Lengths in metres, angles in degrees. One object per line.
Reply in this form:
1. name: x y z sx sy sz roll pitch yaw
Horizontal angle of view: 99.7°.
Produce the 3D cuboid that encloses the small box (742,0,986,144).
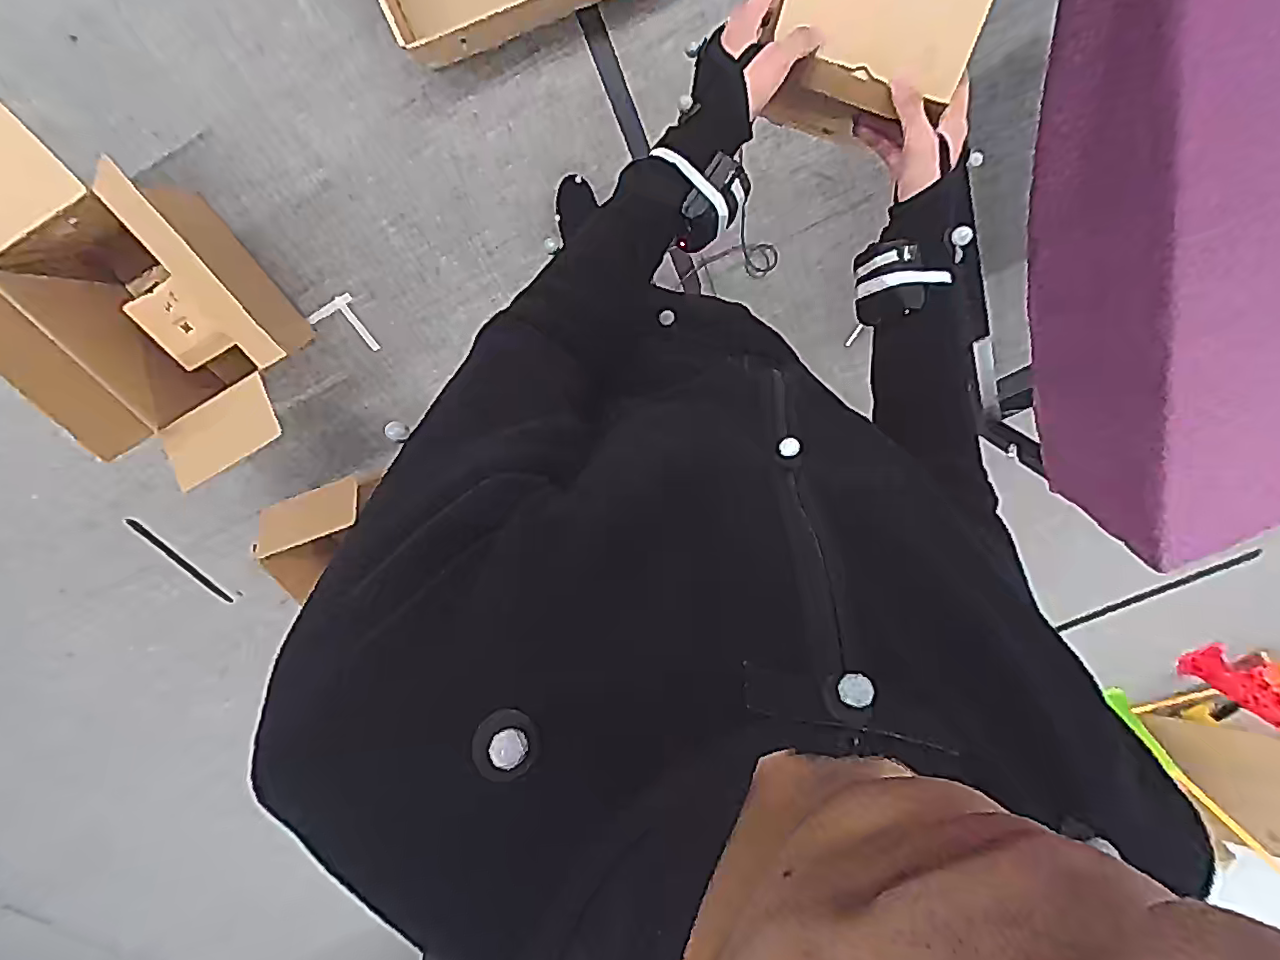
1. small box: 0.206 -0.446 0.503 0.168 0.176 0.179 16 108 -7
